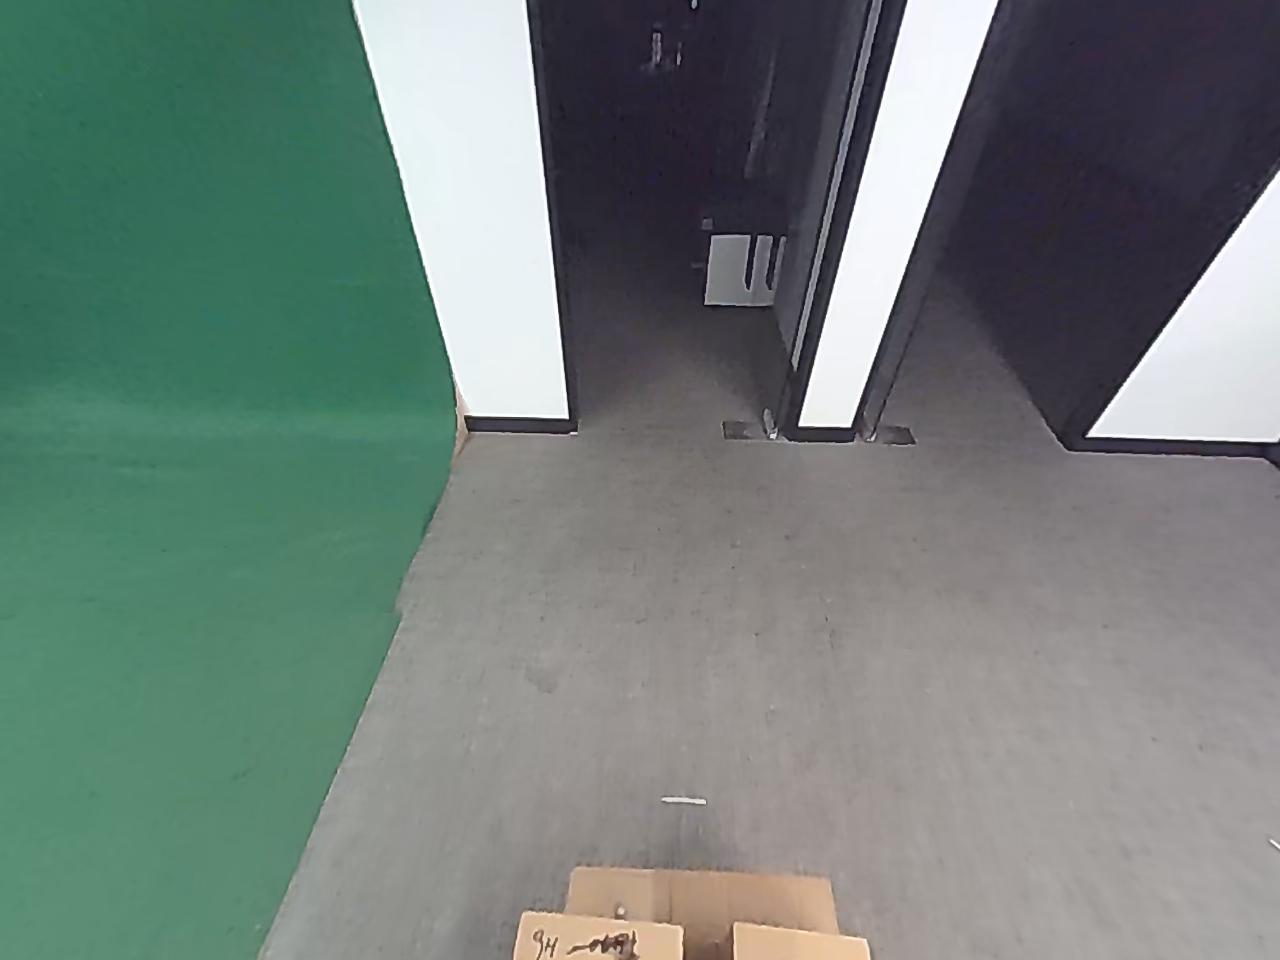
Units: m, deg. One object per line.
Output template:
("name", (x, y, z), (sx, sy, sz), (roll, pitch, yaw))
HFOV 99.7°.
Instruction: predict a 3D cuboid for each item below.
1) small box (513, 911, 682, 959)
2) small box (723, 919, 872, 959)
("small box", (-0.045, 0.557, 0.539), (0.168, 0.176, 0.179), (3, 45, 2))
("small box", (0.189, 0.669, 0.657), (0.168, 0.176, 0.179), (4, 43, 5))
